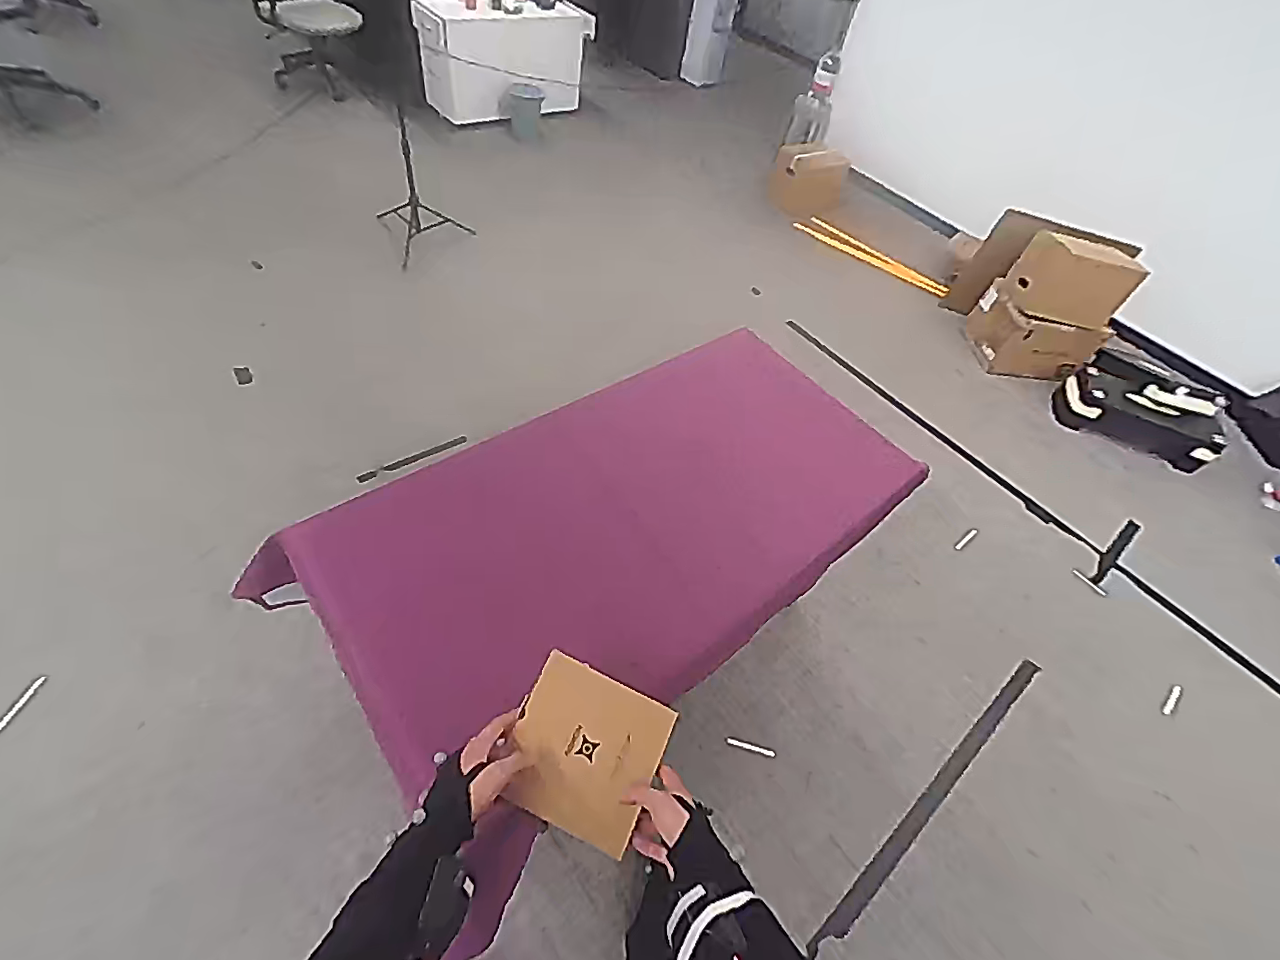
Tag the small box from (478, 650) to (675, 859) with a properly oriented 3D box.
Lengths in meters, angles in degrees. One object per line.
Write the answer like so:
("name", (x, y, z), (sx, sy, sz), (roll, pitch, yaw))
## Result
("small box", (-0.077, 0.345, 0.690), (0.179, 0.176, 0.168), (25, 62, 6))
